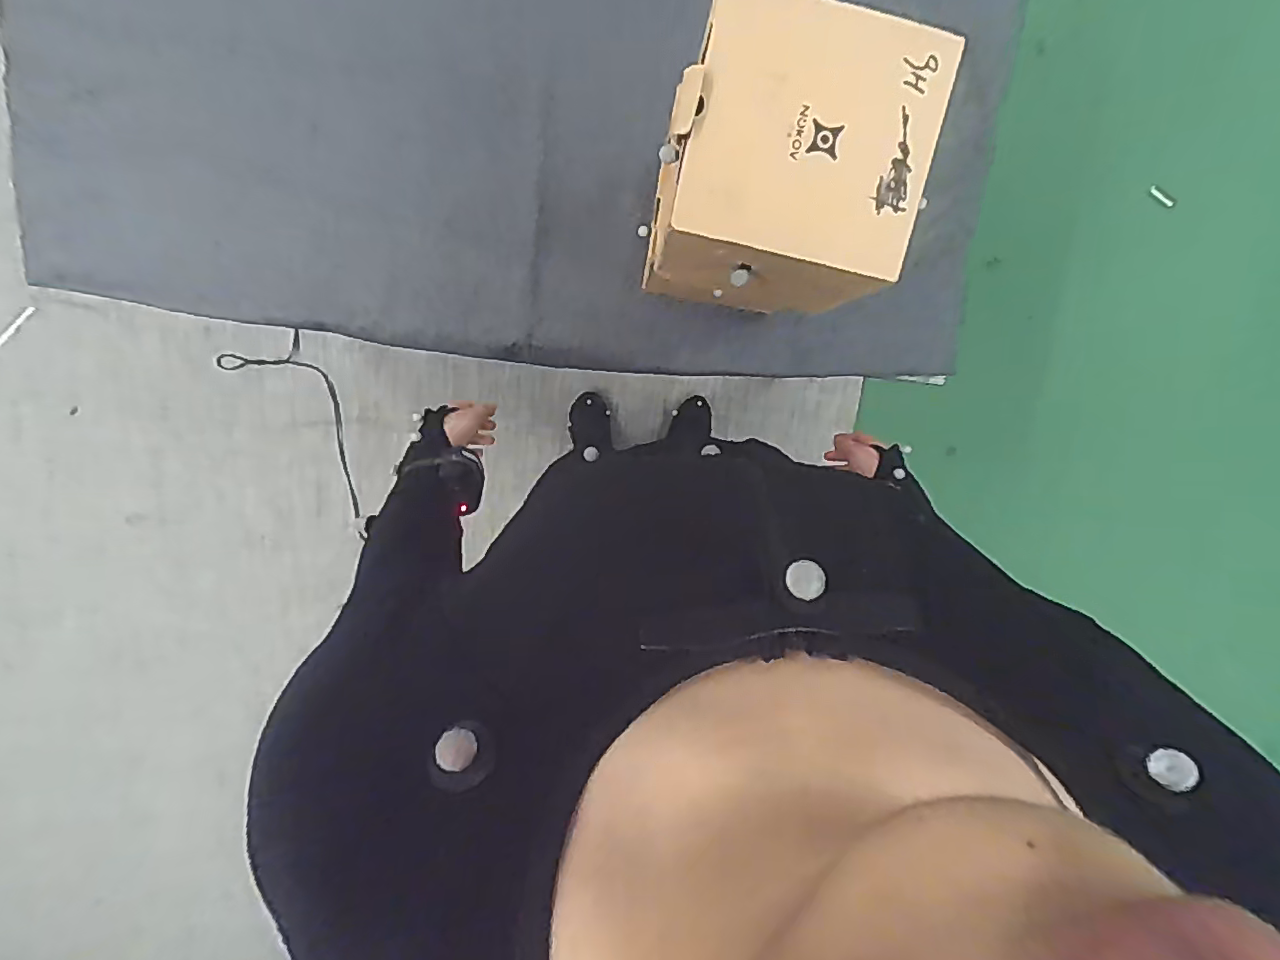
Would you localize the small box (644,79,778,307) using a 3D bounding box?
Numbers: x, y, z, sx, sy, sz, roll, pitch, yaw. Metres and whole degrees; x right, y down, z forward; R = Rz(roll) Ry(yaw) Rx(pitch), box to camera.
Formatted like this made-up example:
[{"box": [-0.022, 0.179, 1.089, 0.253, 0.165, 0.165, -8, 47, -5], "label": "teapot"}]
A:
[{"box": [0.102, -0.297, 0.601, 0.179, 0.176, 0.168, 9, 100, -3], "label": "small box"}]

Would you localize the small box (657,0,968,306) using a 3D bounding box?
[{"box": [0.114, -0.251, 0.443, 0.179, 0.176, 0.168, 12, 100, -2], "label": "small box"}]
